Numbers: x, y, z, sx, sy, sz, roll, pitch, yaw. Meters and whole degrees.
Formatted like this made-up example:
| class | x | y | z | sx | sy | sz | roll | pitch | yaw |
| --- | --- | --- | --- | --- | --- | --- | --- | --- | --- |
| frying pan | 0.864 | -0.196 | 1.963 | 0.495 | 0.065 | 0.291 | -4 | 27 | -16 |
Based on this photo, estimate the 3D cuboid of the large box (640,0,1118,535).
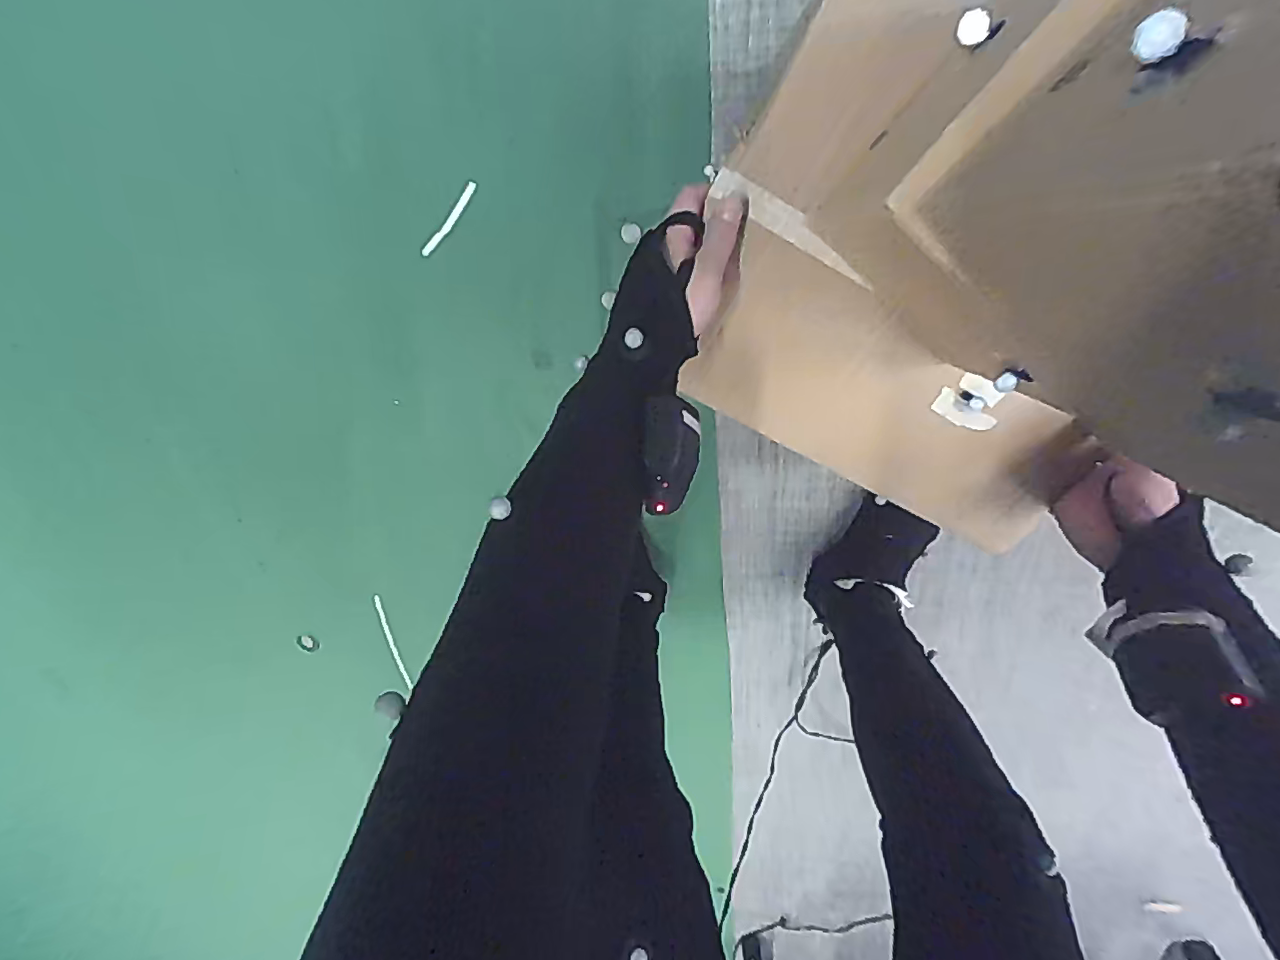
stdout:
| class | x | y | z | sx | sy | sz | roll | pitch | yaw |
| --- | --- | --- | --- | --- | --- | --- | --- | --- | --- |
| large box | 0.245 | -0.211 | 0.558 | 0.408 | 0.320 | 0.320 | 25 | 116 | -9 |

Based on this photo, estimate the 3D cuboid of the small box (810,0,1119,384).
| class | x | y | z | sx | sy | sz | roll | pitch | yaw |
| --- | --- | --- | --- | --- | --- | --- | --- | --- | --- |
| small box | 0.226 | -0.174 | 0.306 | 0.179 | 0.176 | 0.168 | 36 | 111 | -13 |

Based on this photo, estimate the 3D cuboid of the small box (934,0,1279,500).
| class | x | y | z | sx | sy | sz | roll | pitch | yaw |
| --- | --- | --- | --- | --- | --- | --- | --- | --- | --- |
| small box | 0.233 | -0.095 | 0.162 | 0.179 | 0.176 | 0.168 | 41 | 111 | -16 |
